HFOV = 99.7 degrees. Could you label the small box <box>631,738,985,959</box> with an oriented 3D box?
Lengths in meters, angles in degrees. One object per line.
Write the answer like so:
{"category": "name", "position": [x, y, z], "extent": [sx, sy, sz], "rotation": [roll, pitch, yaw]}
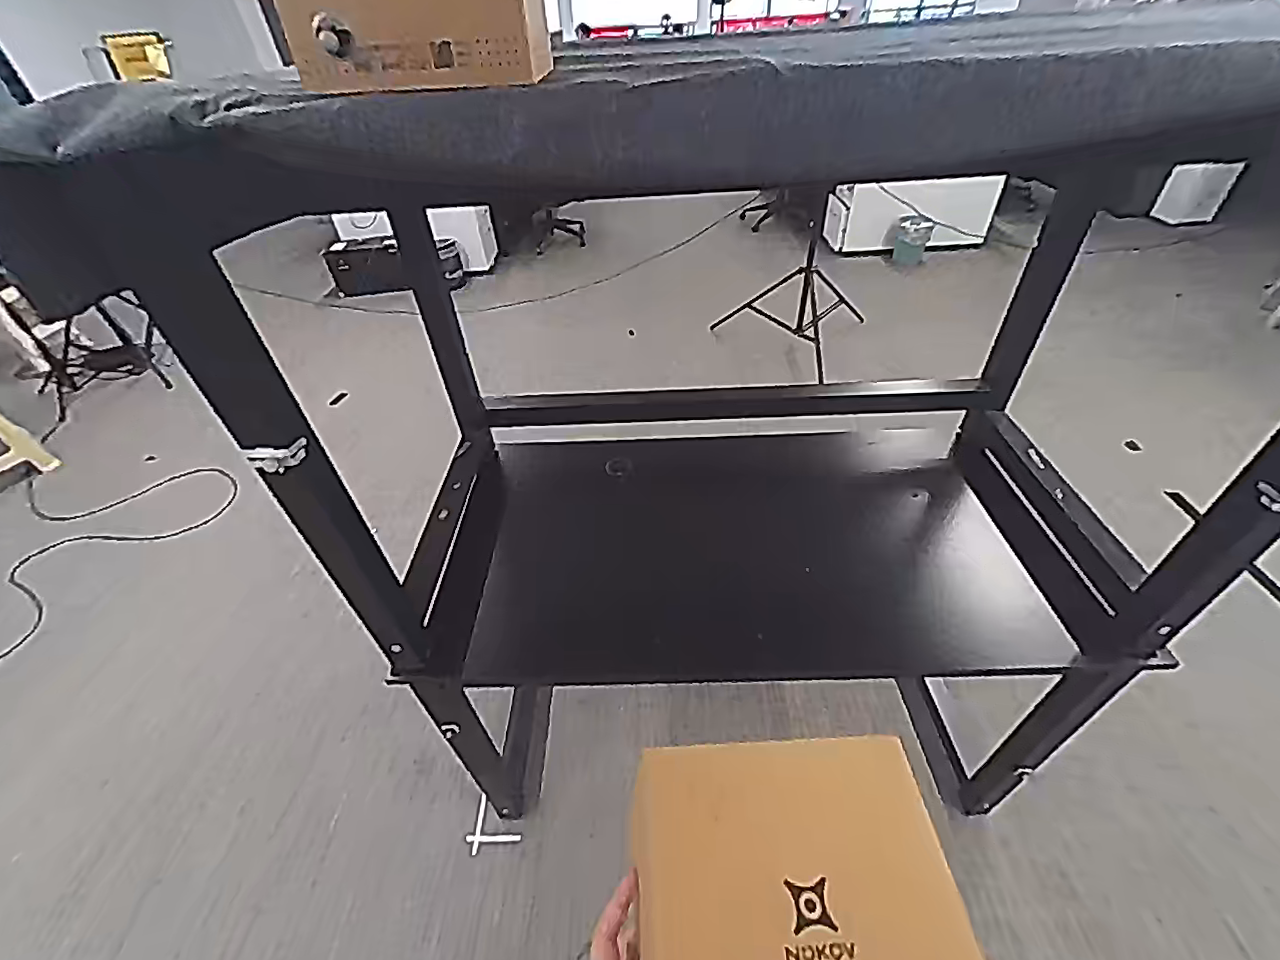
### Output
{"category": "small box", "position": [0.083, 0.281, 0.332], "extent": [0.168, 0.176, 0.179], "rotation": [0, 45, -5]}

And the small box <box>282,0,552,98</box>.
{"category": "small box", "position": [-0.163, -0.392, 0.402], "extent": [0.168, 0.176, 0.179], "rotation": [-3, 39, -1]}
